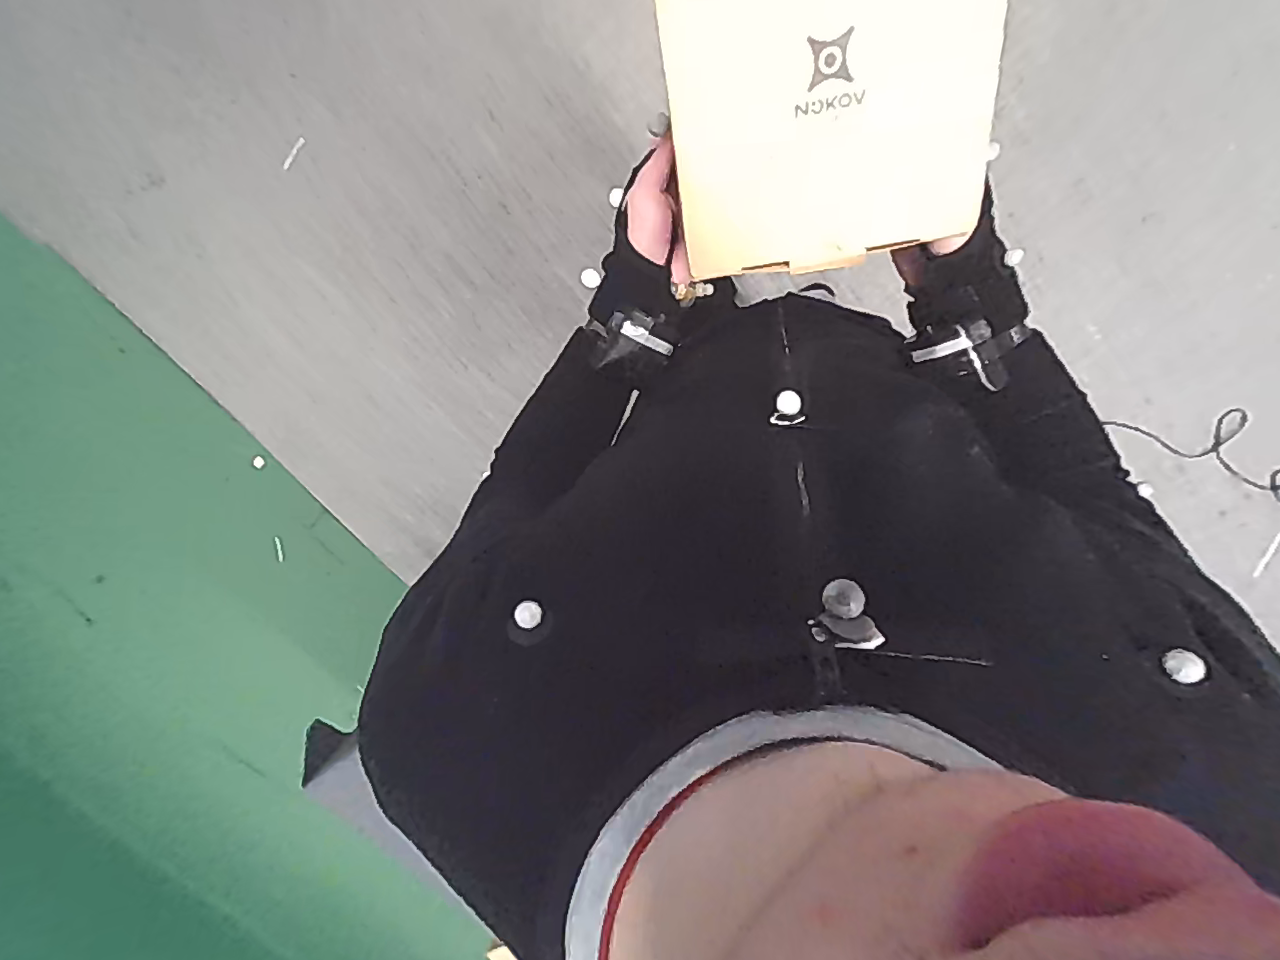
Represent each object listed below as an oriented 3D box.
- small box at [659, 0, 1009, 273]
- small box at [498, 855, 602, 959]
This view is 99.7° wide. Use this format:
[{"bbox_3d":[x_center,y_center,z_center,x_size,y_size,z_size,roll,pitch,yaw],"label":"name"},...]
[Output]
[{"bbox_3d":[0.102,-0.251,0.343,0.168,0.176,0.179,-6,123,8],"label":"small box"},{"bbox_3d":[-0.212,1.074,1.343,0.179,0.176,0.168,-38,100,26],"label":"small box"}]
